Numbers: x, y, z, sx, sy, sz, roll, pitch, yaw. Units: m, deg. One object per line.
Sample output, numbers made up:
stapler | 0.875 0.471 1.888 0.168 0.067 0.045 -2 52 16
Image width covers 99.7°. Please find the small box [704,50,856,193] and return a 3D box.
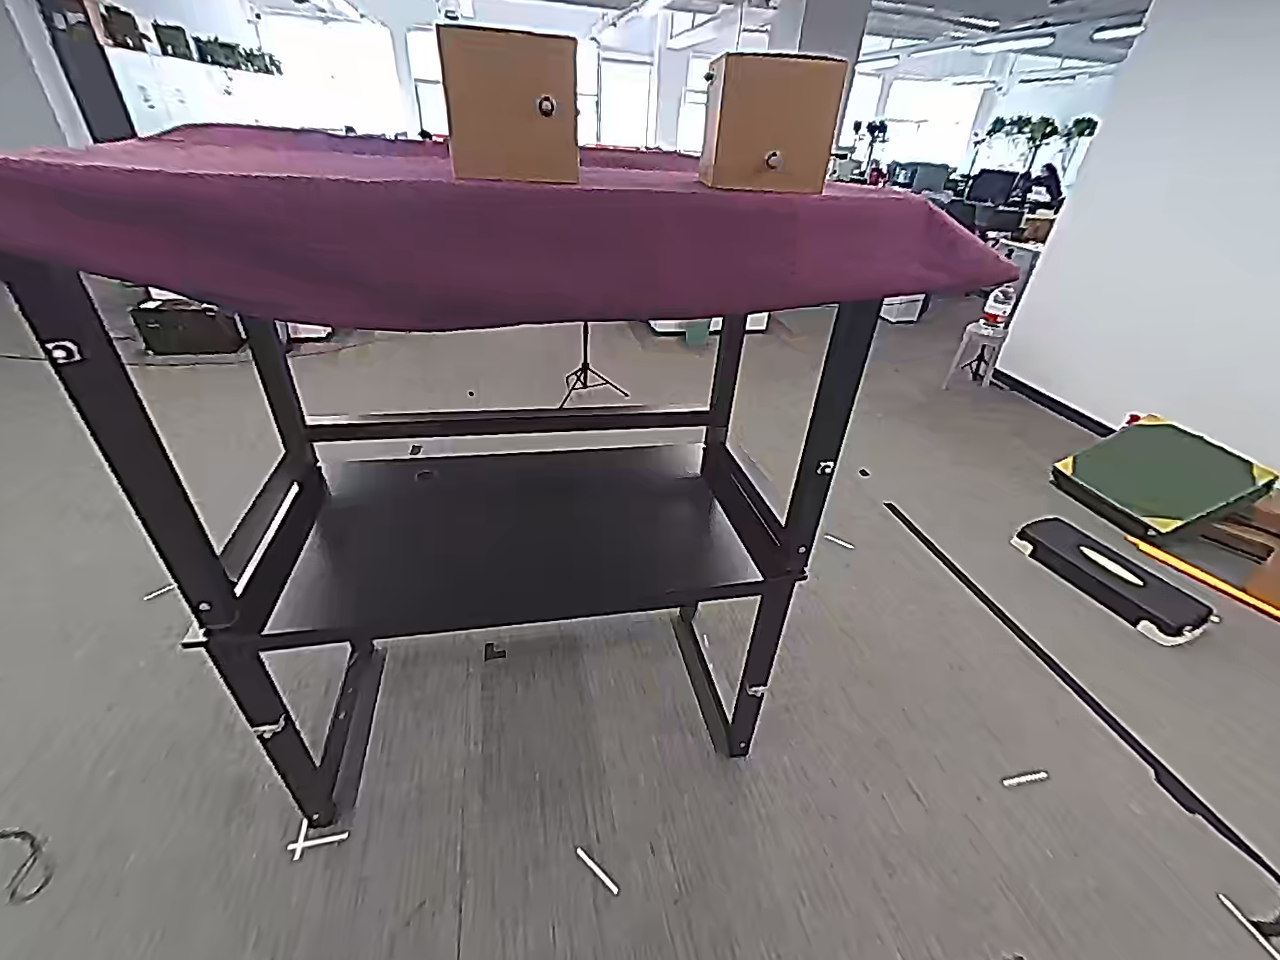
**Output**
small box | 0.204 -0.551 0.845 0.179 0.176 0.168 2 32 -3

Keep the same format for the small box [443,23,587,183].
small box | -0.172 -0.530 0.777 0.179 0.176 0.168 -3 33 -11
